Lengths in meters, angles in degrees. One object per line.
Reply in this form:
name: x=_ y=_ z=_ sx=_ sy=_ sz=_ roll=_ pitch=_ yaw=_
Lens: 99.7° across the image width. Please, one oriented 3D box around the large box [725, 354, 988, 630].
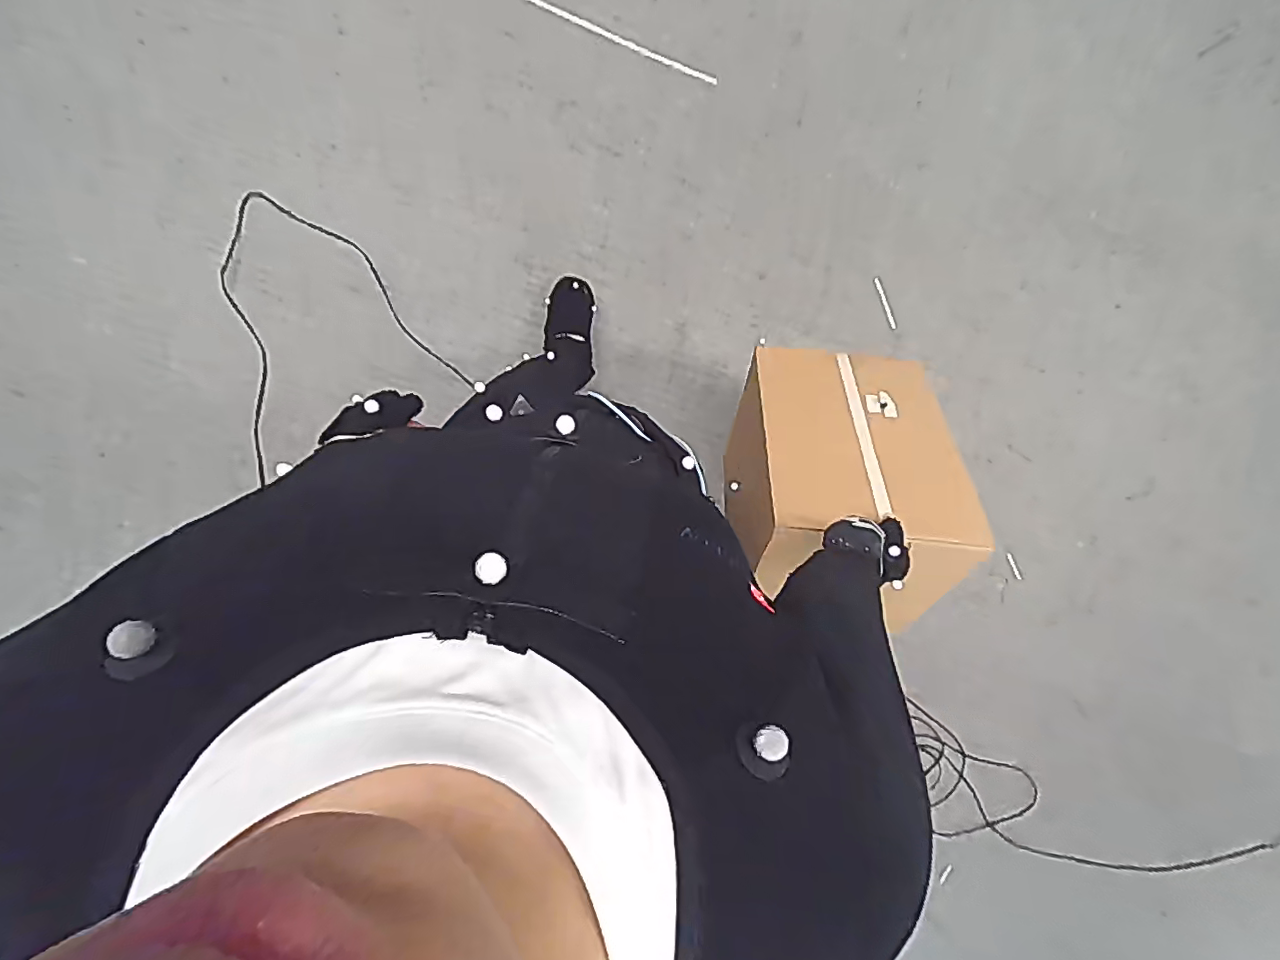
large box: x=0.343 y=0.024 z=1.001 sx=0.320 sy=0.408 sz=0.320 roll=6 pitch=140 yaw=-2
